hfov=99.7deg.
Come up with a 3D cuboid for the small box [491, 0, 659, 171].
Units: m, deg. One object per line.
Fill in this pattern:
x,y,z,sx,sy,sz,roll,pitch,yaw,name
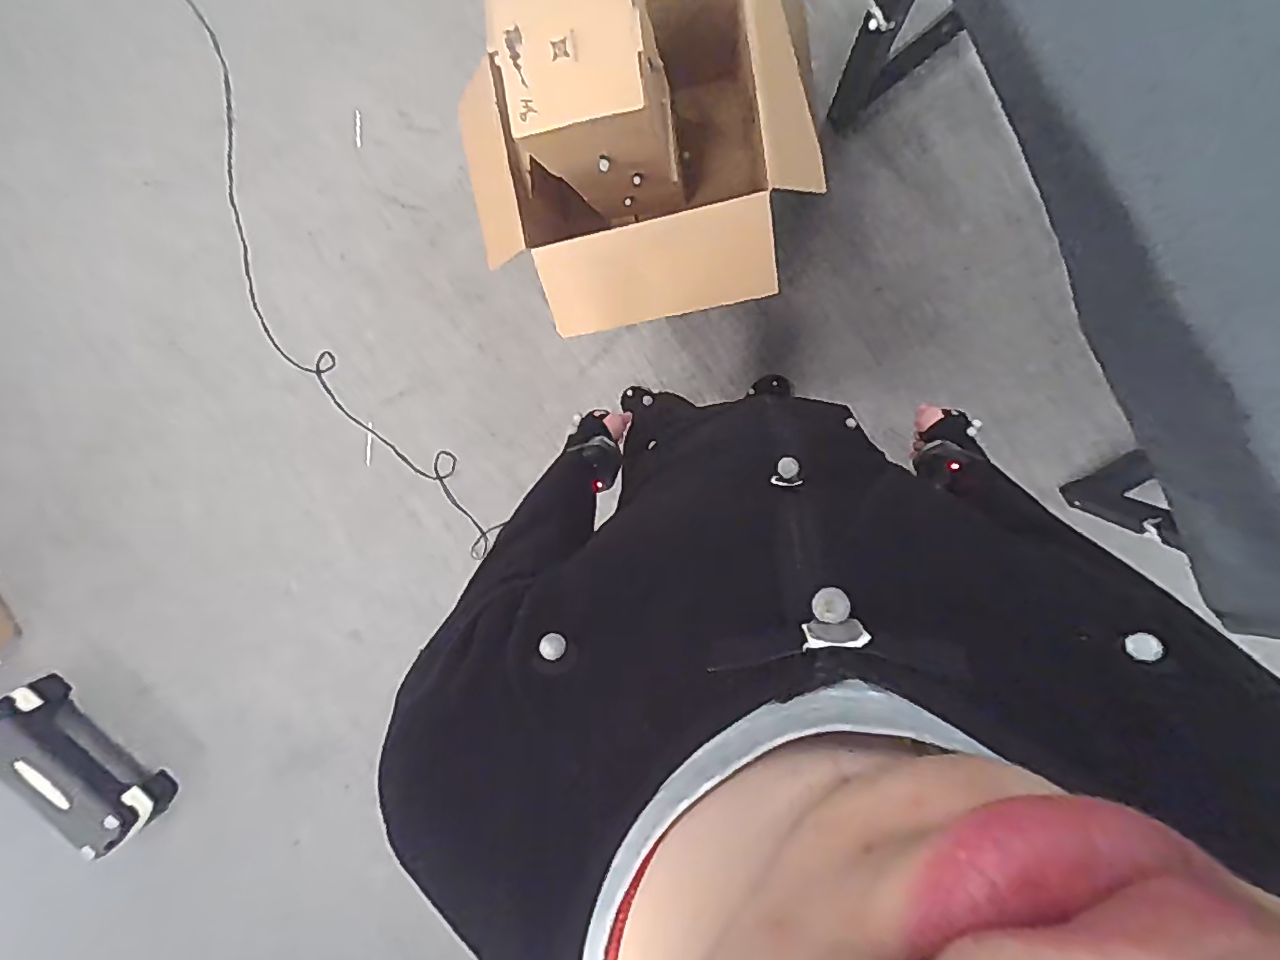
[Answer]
-0.072,-0.536,0.717,0.179,0.176,0.168,-5,103,11,small box
